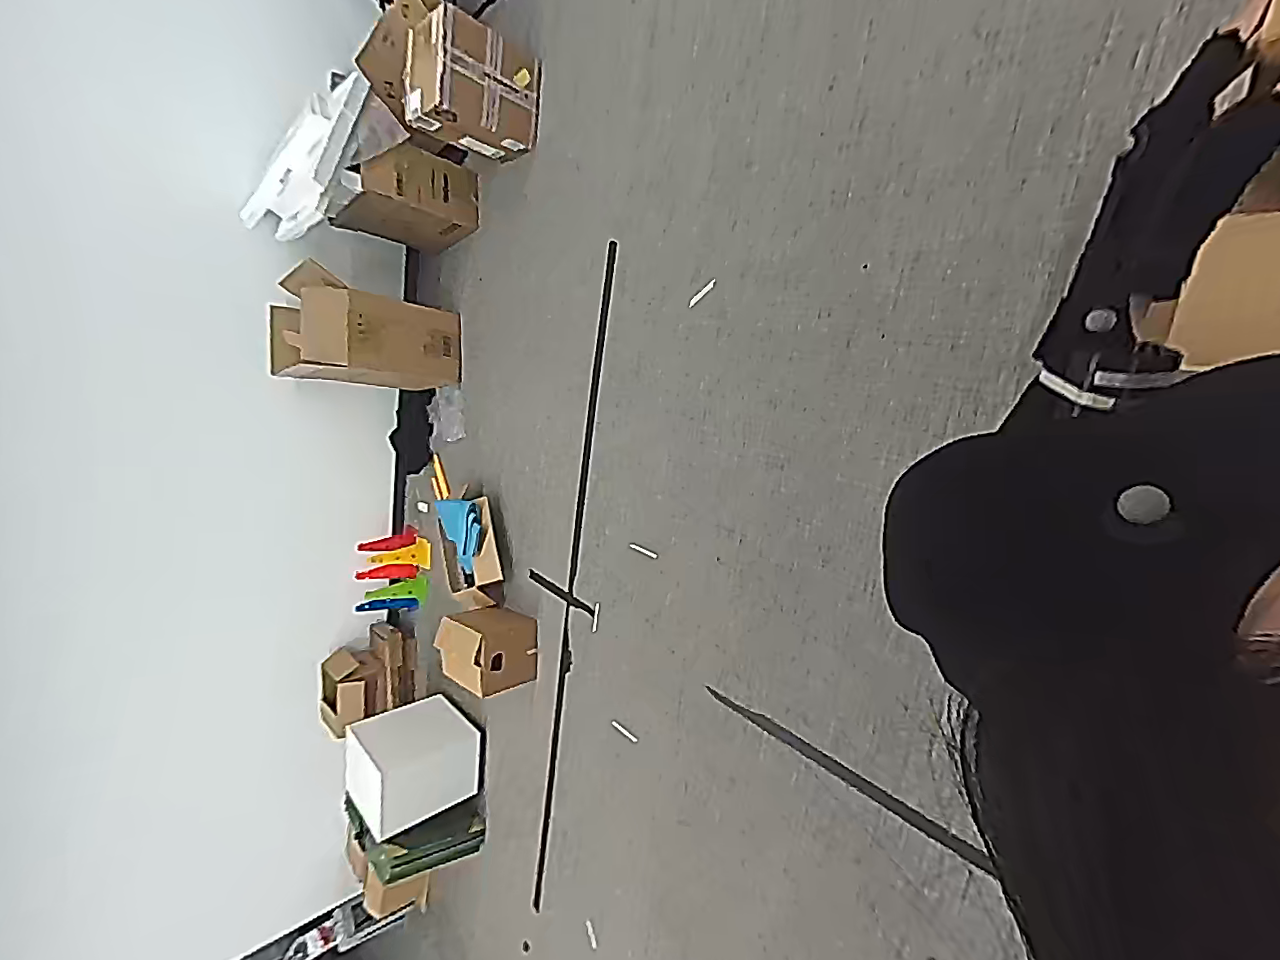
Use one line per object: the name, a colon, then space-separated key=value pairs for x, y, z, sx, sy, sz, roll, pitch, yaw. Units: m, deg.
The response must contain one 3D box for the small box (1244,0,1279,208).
small box: x=0.470 y=-0.280 z=0.286 sx=0.168 sy=0.176 sz=0.179 roll=20 pitch=90 yaw=46
